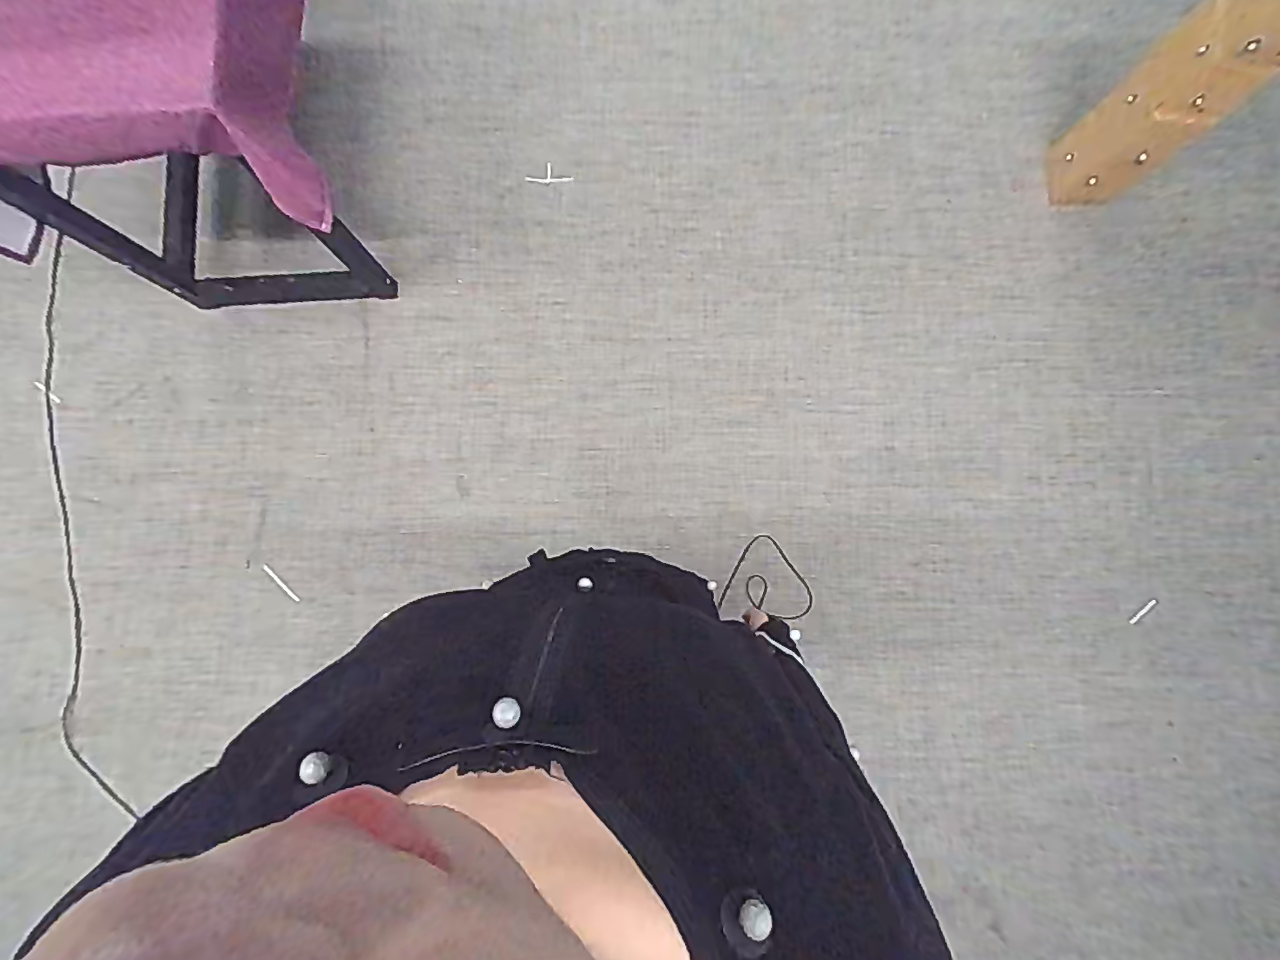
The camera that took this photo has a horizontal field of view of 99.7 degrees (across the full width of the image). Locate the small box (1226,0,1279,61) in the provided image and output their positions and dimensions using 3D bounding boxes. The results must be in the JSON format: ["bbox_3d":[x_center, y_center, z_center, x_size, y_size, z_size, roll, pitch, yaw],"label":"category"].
[{"bbox_3d":[1.367,-1.008,1.108,0.168,0.176,0.179,9,82,0],"label":"small box"}]

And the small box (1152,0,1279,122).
[{"bbox_3d":[1.361,-0.991,1.271,0.168,0.176,0.179,6,83,0],"label":"small box"}]

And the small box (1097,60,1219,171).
[{"bbox_3d":[1.358,-0.958,1.431,0.168,0.176,0.179,3,83,0],"label":"small box"}]
